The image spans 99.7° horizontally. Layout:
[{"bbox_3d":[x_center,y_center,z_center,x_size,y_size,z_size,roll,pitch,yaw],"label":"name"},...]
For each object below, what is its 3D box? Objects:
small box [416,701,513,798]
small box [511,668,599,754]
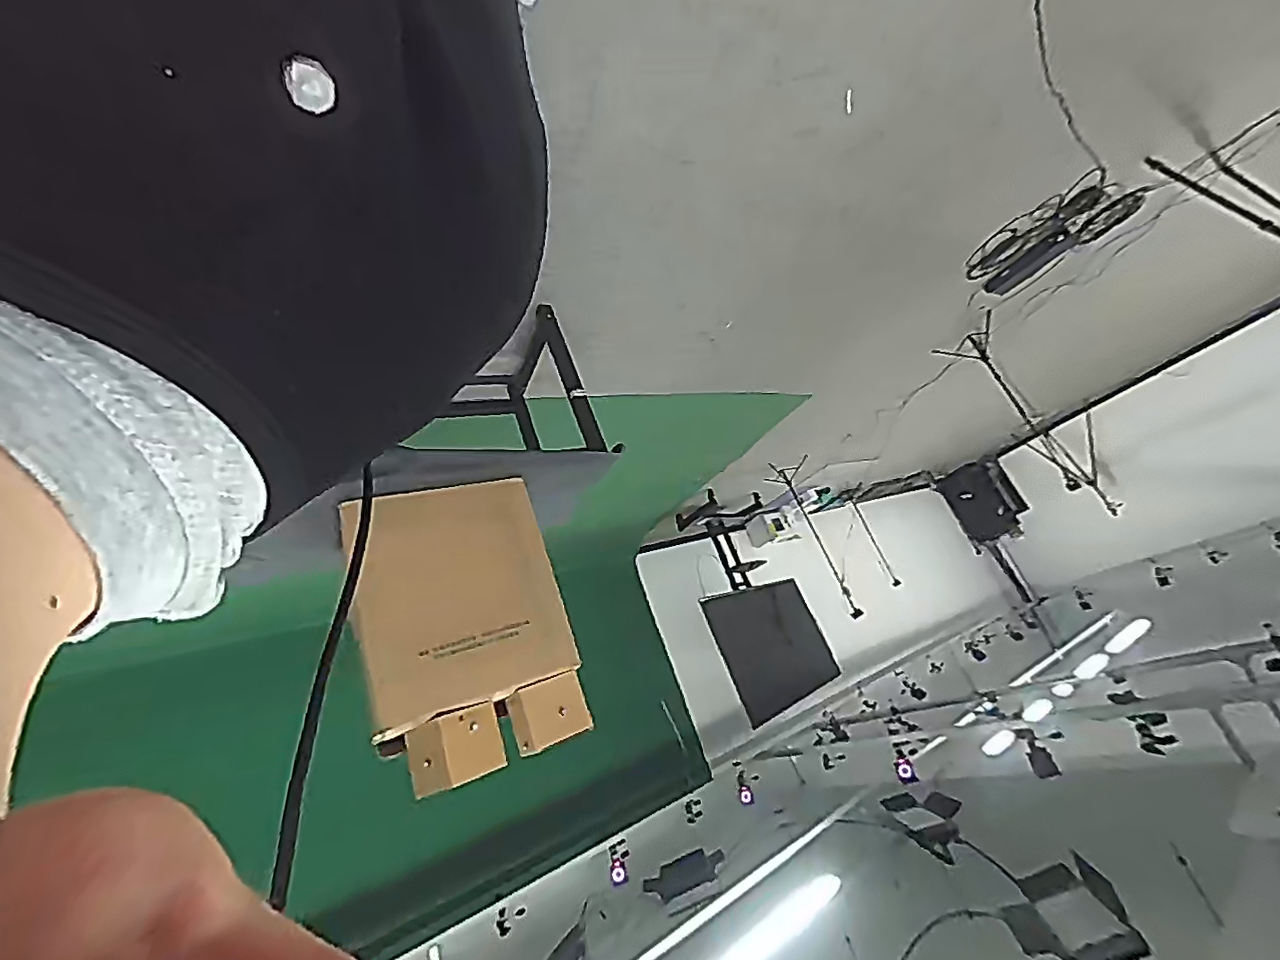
[{"bbox_3d":[-0.467,0.701,1.420,0.179,0.176,0.168,-36,156,31],"label":"small box"},{"bbox_3d":[-0.250,0.661,1.557,0.179,0.176,0.168,-12,157,-32],"label":"small box"}]
